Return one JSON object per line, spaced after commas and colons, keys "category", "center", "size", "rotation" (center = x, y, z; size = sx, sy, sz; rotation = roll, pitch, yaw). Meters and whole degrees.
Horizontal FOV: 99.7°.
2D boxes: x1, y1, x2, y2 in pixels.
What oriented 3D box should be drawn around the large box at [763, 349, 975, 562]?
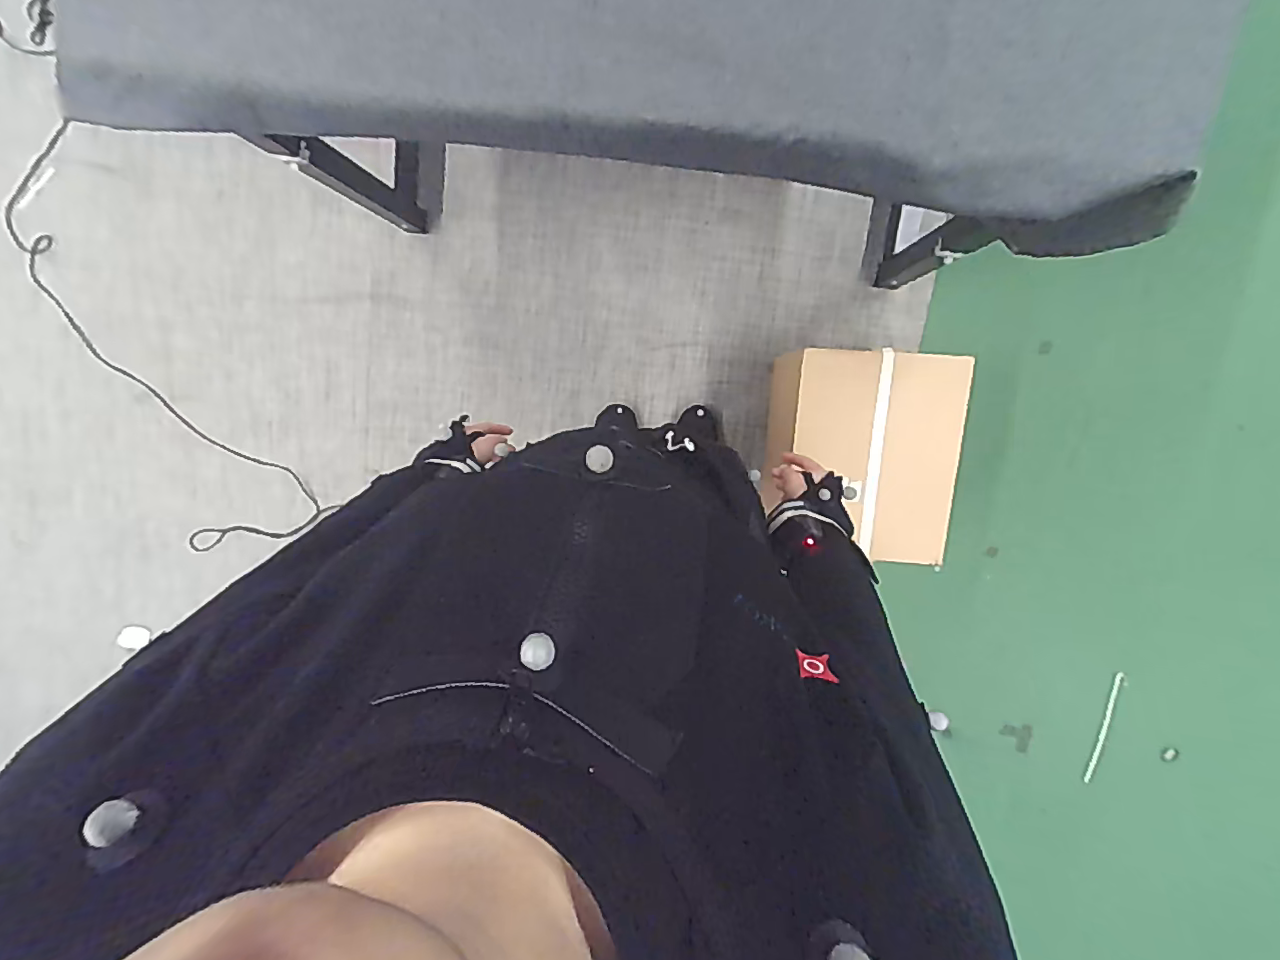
{"category": "large box", "center": [0.460, -0.070, 1.172], "size": [0.320, 0.320, 0.408], "rotation": [4, 101, 4]}
